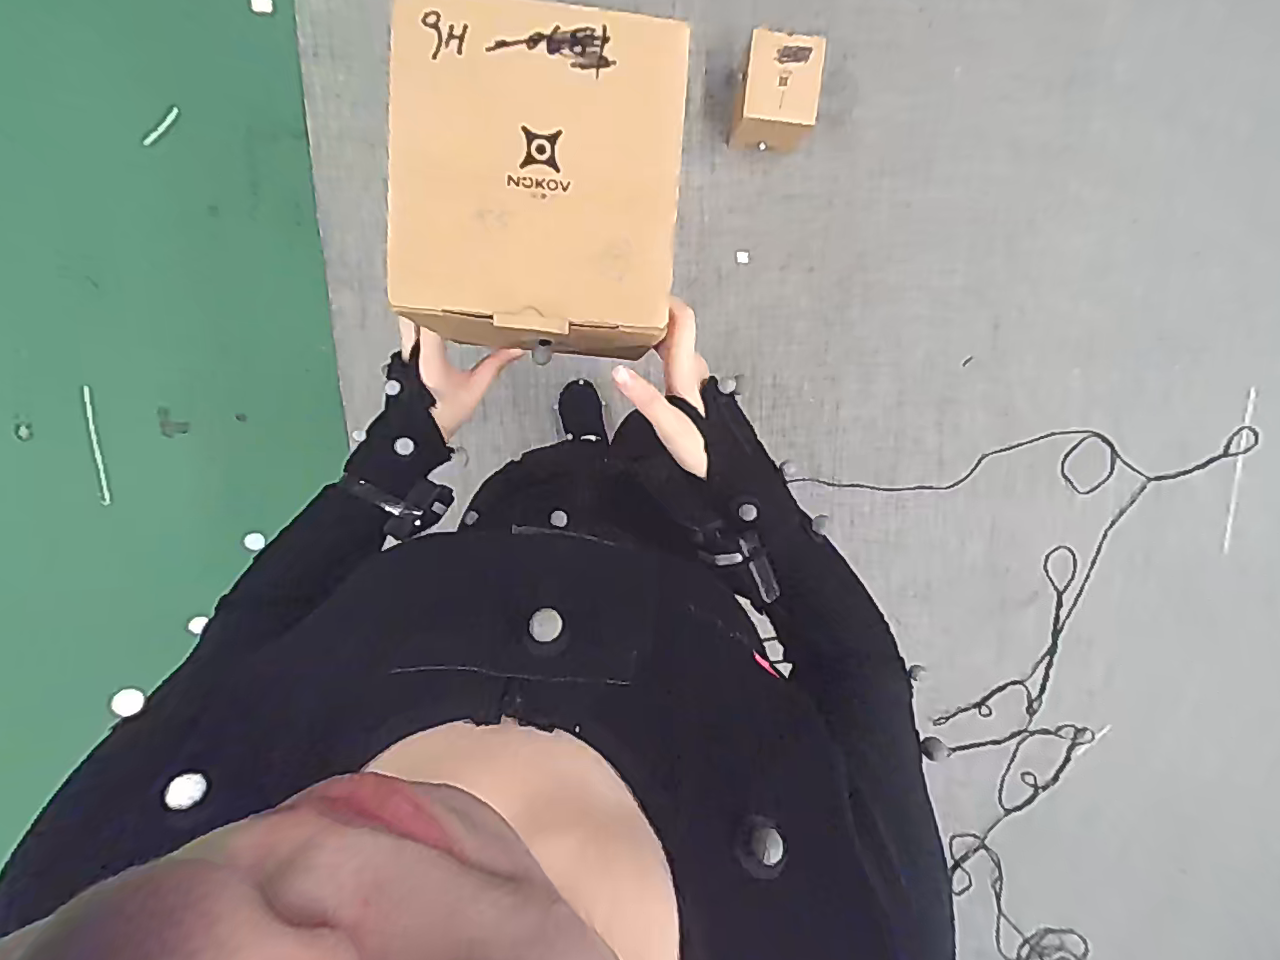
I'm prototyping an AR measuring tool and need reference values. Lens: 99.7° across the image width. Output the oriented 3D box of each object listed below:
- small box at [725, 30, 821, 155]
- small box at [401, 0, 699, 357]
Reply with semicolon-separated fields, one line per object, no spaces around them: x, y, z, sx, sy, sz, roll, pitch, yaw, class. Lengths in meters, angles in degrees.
0.301;-0.892;1.259;0.168;0.176;0.179;4;102;-4;small box
-0.061;-0.187;0.393;0.168;0.176;0.179;4;98;-7;small box
